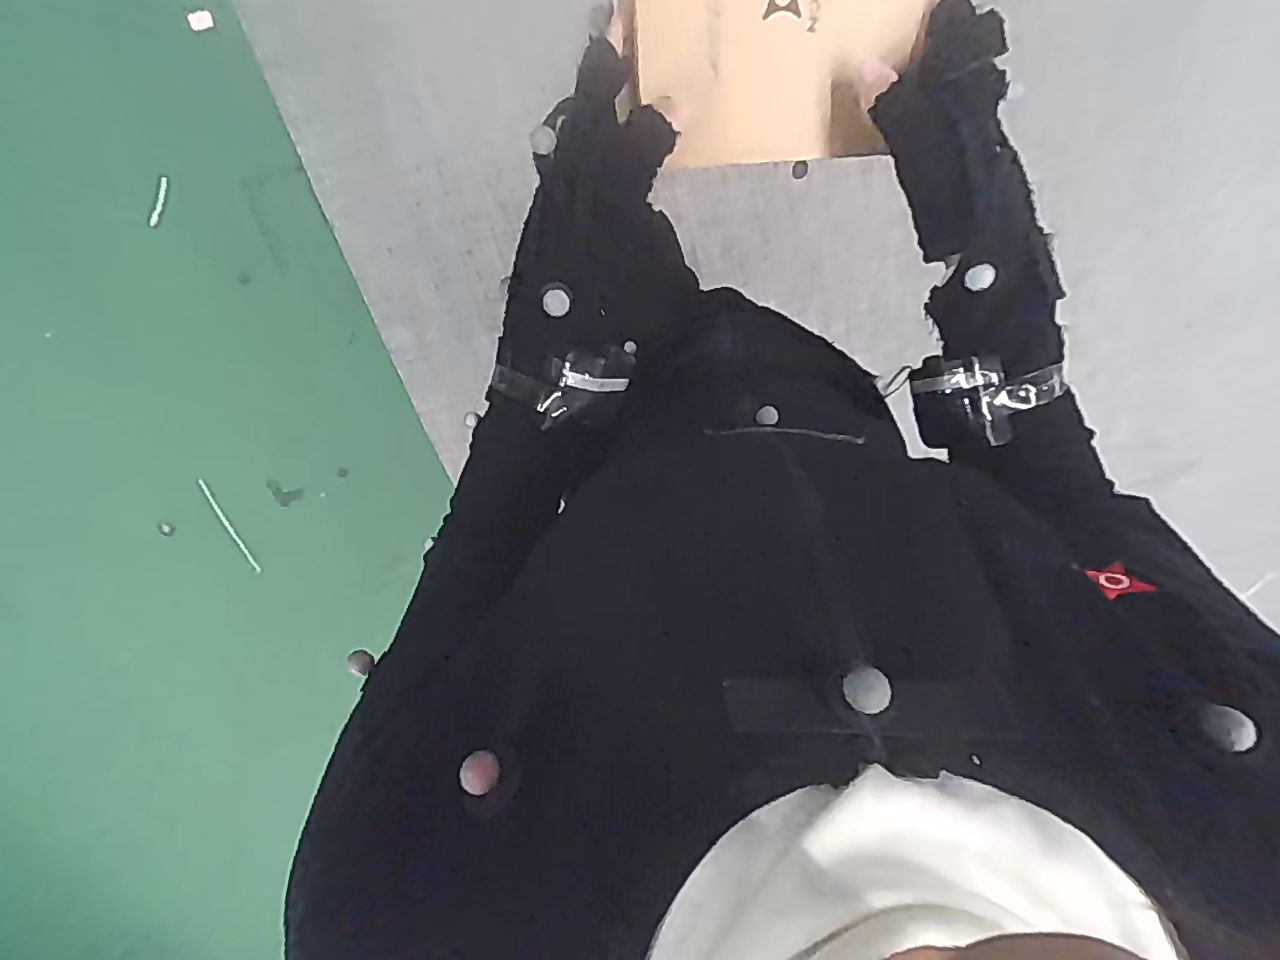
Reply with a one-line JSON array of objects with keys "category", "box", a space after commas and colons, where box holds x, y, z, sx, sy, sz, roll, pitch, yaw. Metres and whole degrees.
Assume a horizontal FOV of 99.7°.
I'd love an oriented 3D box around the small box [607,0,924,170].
[{"category": "small box", "box": [0.070, -0.316, 0.370, 0.179, 0.176, 0.168, -6, 121, -2]}]
